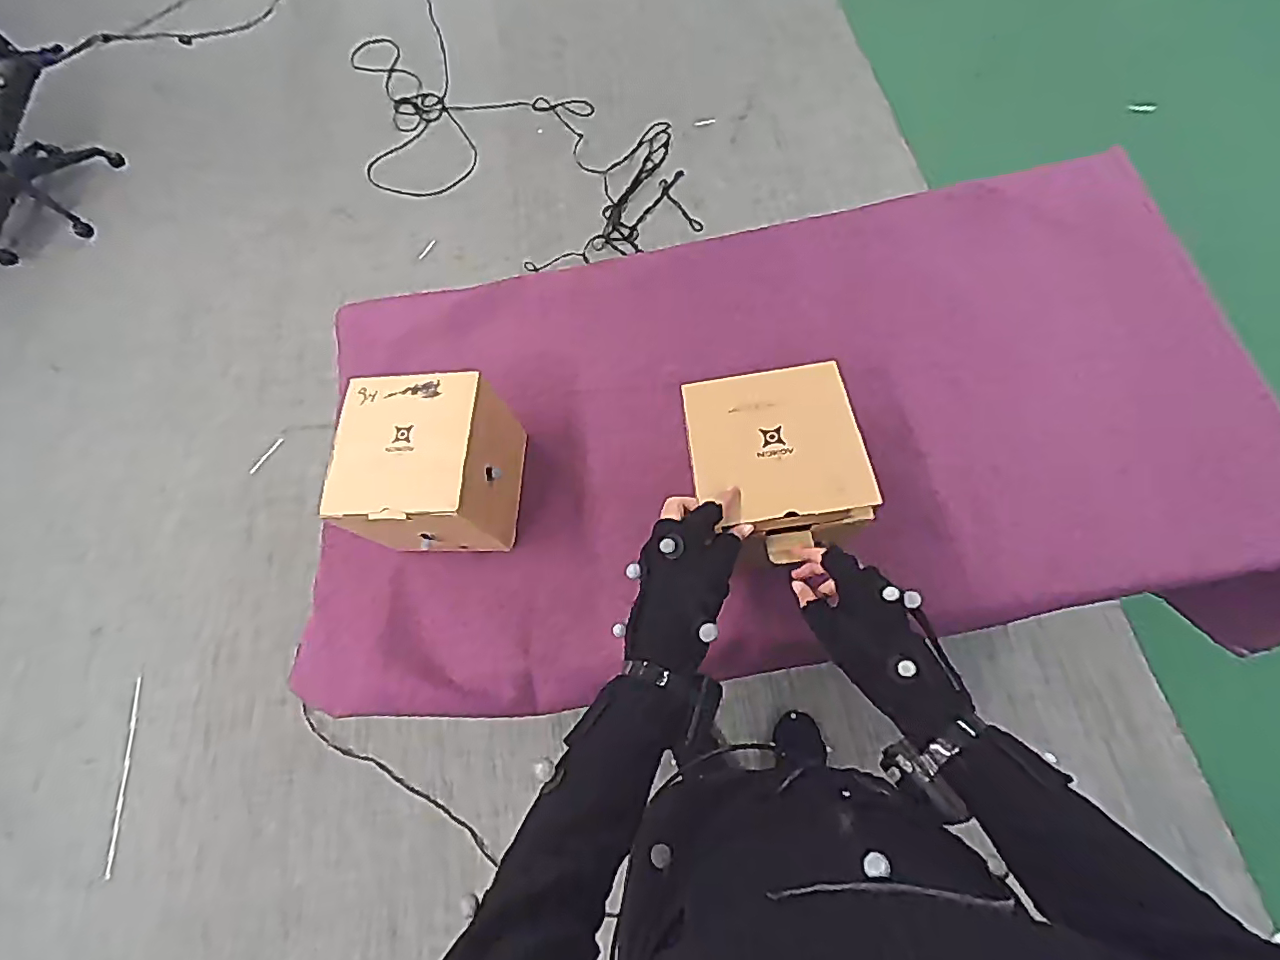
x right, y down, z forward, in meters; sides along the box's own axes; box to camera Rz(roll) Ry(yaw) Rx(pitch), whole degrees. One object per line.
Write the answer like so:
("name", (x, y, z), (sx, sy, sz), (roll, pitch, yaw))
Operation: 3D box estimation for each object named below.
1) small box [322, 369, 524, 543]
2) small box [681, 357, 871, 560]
("small box", (-0.255, -0.019, 0.682), (0.168, 0.176, 0.179), (-1, 70, 8))
("small box", (0.143, -0.011, 0.618), (0.168, 0.176, 0.179), (-8, 68, 5))
